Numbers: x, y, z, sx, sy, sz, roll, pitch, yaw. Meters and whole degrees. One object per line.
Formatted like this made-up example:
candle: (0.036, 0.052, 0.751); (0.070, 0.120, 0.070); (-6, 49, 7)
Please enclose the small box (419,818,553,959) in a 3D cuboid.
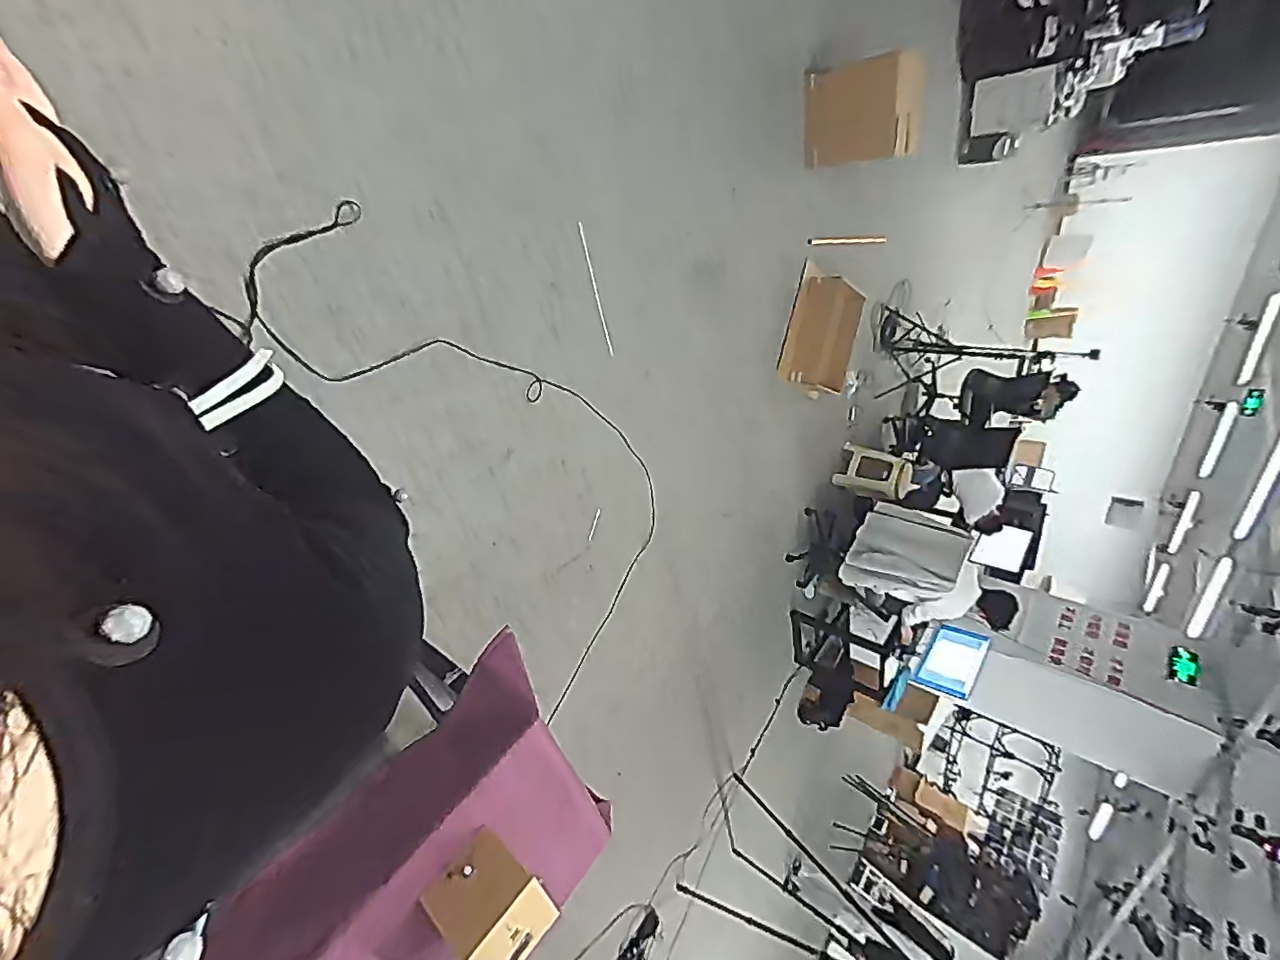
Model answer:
small box: (-0.307, 0.829, 1.086); (0.168, 0.176, 0.179); (-39, 130, -35)
